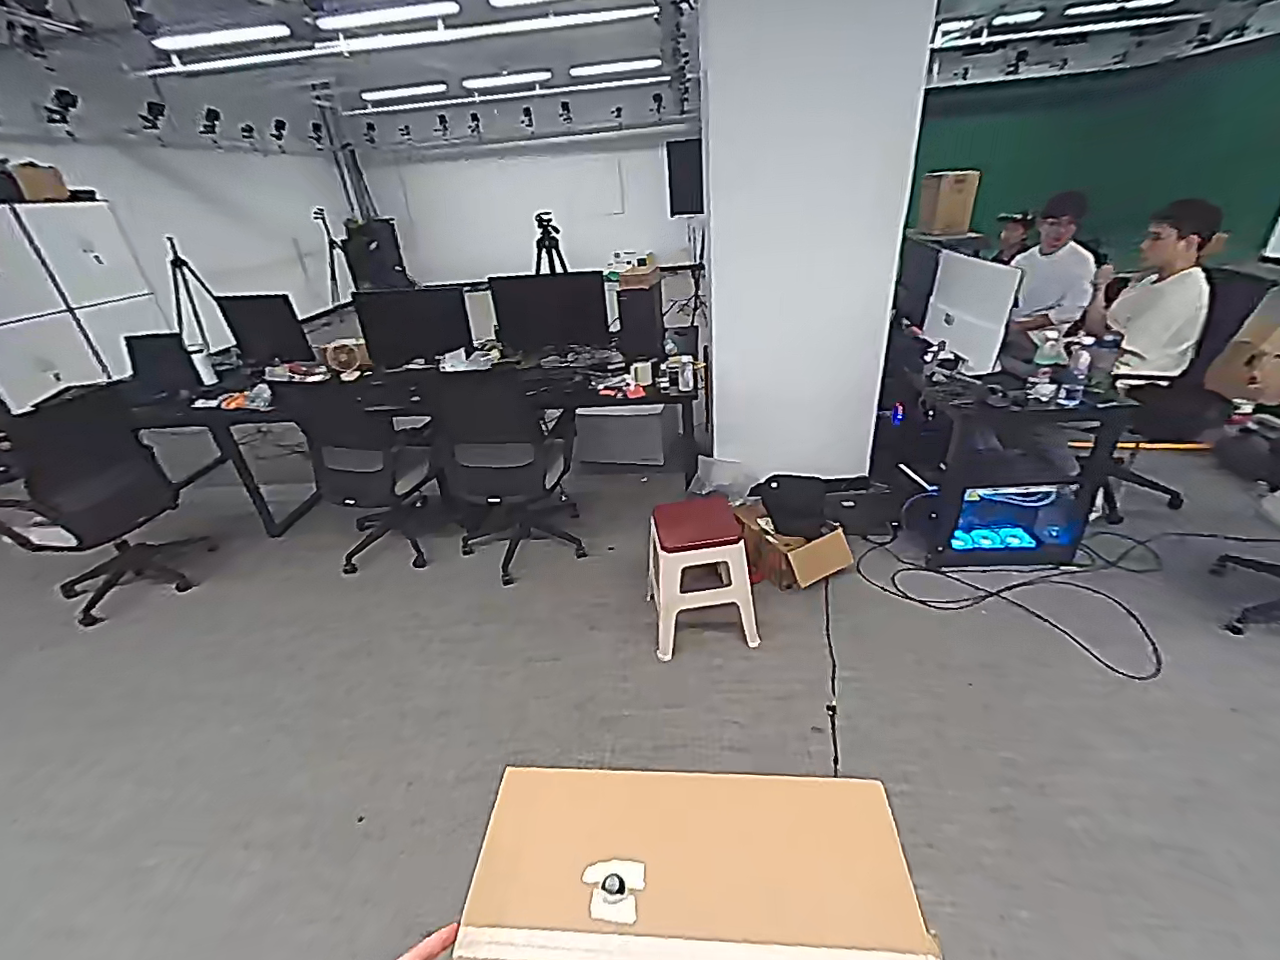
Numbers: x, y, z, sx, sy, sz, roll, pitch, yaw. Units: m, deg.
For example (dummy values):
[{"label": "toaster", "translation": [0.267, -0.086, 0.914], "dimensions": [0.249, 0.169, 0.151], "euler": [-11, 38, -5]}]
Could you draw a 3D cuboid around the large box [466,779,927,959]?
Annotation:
[{"label": "large box", "translation": [0.059, 0.536, 0.545], "dimensions": [0.408, 0.320, 0.320], "euler": [-3, 32, 6]}]
